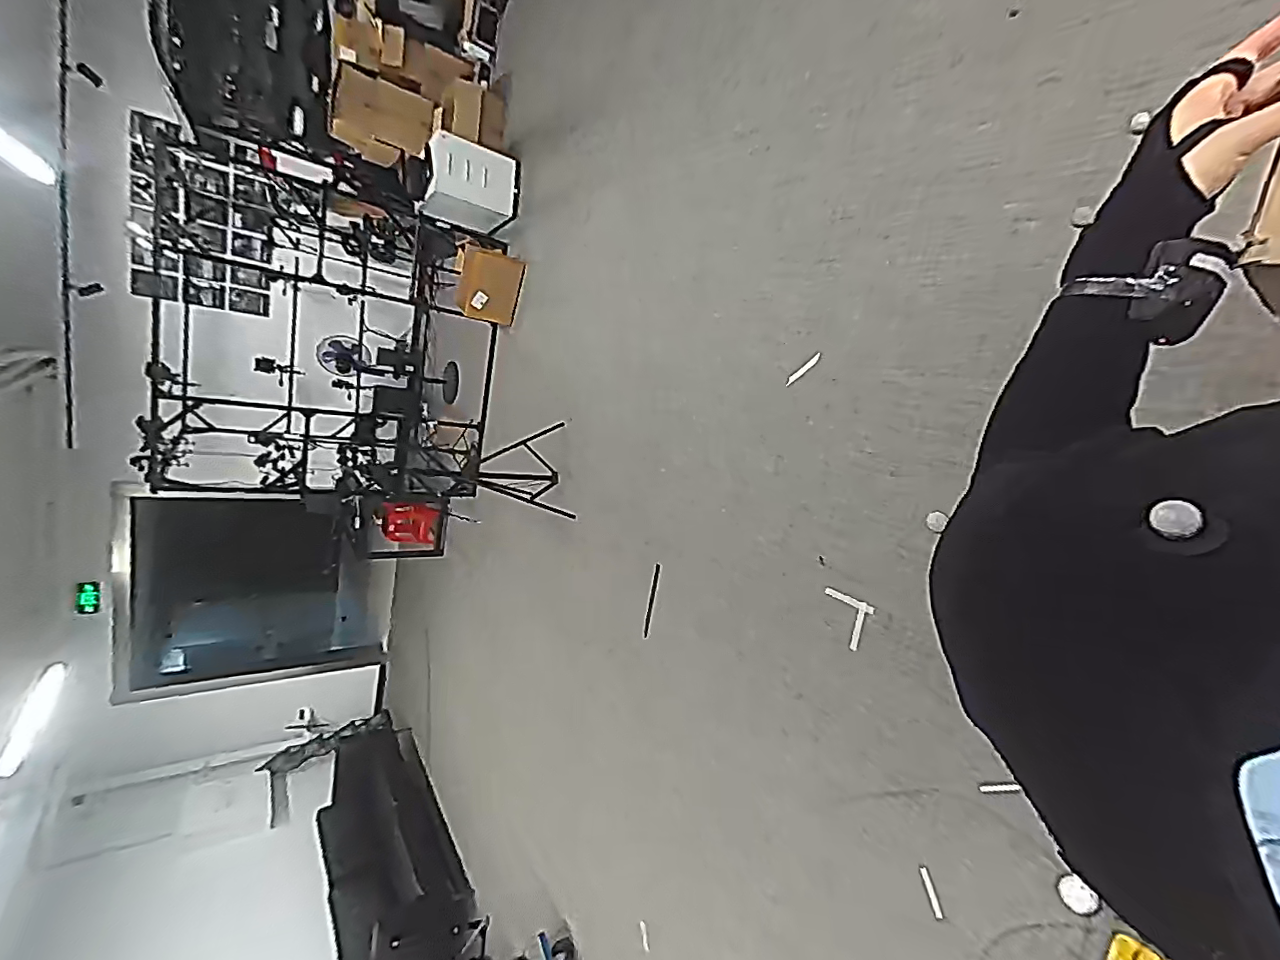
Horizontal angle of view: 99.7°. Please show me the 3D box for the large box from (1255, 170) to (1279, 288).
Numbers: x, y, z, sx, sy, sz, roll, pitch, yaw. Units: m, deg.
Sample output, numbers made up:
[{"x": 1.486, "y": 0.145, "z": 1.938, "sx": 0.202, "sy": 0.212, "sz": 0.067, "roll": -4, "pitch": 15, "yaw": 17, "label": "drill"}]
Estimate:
[{"x": 0.693, "y": -0.267, "z": 0.289, "sx": 0.408, "sy": 0.320, "sz": 0.320, "roll": 22, "pitch": 109, "yaw": 51, "label": "large box"}]
